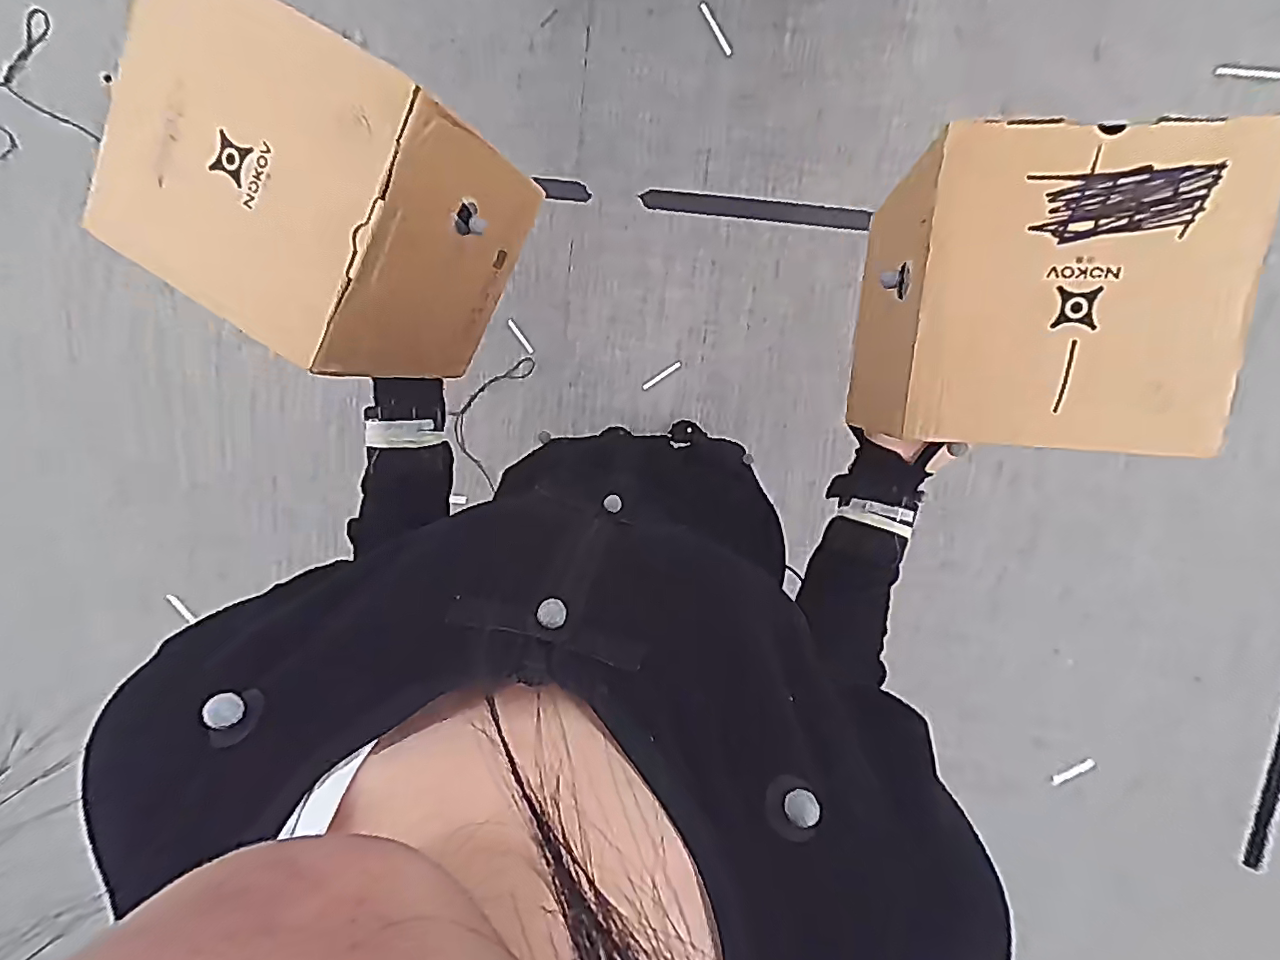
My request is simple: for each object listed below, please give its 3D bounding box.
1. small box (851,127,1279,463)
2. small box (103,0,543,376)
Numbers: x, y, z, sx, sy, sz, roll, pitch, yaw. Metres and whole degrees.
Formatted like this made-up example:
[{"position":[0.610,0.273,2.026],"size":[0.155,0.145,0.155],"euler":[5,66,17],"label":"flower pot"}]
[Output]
[{"position":[0.259,-0.115,0.381],"size":[0.168,0.176,0.179],"euler":[6,100,9],"label":"small box"},{"position":[-0.195,-0.187,0.376],"size":[0.179,0.176,0.168],"euler":[32,104,6],"label":"small box"}]
